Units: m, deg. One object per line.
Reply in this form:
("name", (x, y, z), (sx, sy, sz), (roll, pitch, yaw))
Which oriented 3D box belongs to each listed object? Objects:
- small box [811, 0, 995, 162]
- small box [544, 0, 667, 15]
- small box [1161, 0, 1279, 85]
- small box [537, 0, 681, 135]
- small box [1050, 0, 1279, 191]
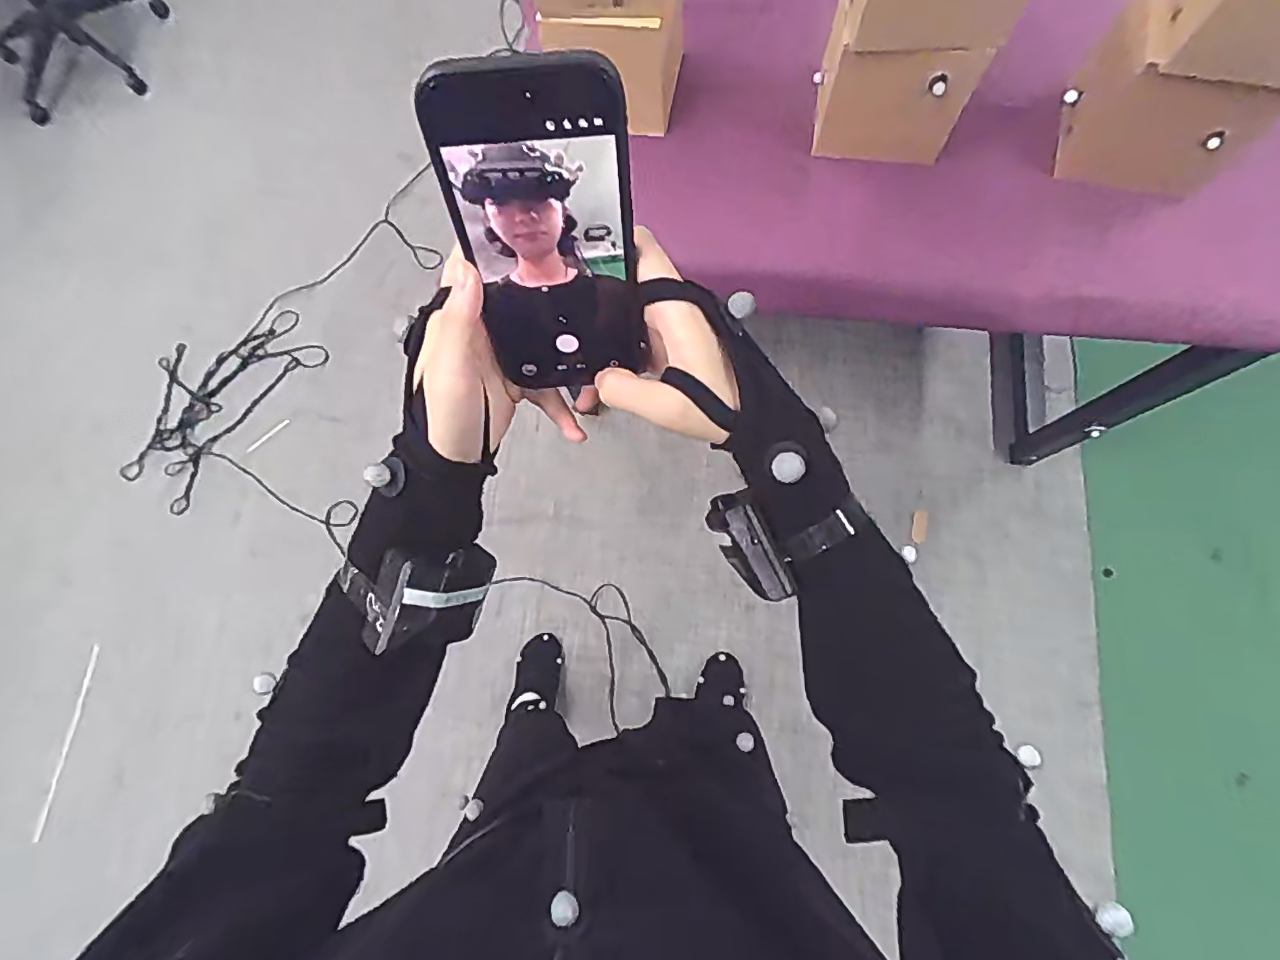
("small box", (0.347, -0.567, 0.735), (0.179, 0.176, 0.168), (8, 76, 7))
("small box", (-0.046, -0.690, 0.631), (0.168, 0.176, 0.179), (4, 76, 5))
("small box", (0.672, -0.532, 0.531), (0.179, 0.176, 0.168), (14, 77, 8))
("small box", (-0.033, -0.641, 0.788), (0.168, 0.176, 0.179), (9, 76, 7))
("small box", (0.679, -0.506, 0.693), (0.179, 0.176, 0.168), (14, 76, 9))
